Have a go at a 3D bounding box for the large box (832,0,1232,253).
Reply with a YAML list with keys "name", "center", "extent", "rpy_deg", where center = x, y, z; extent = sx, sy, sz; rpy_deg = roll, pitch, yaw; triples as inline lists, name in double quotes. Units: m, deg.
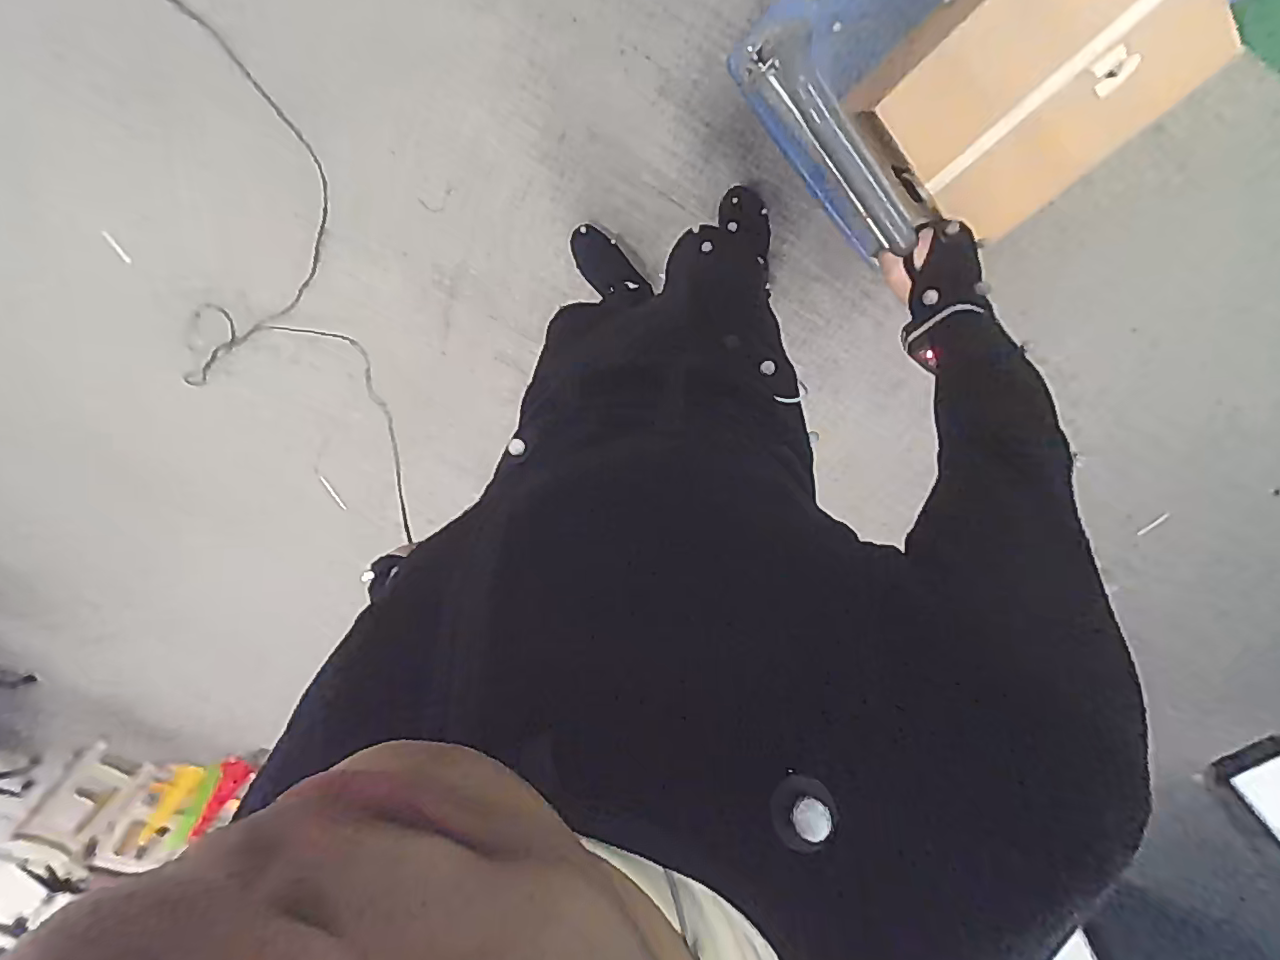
- name: "large box"
  center: [0.617, -0.678, 0.932]
  extent: [0.408, 0.320, 0.320]
  rpy_deg: [-39, 114, 24]
